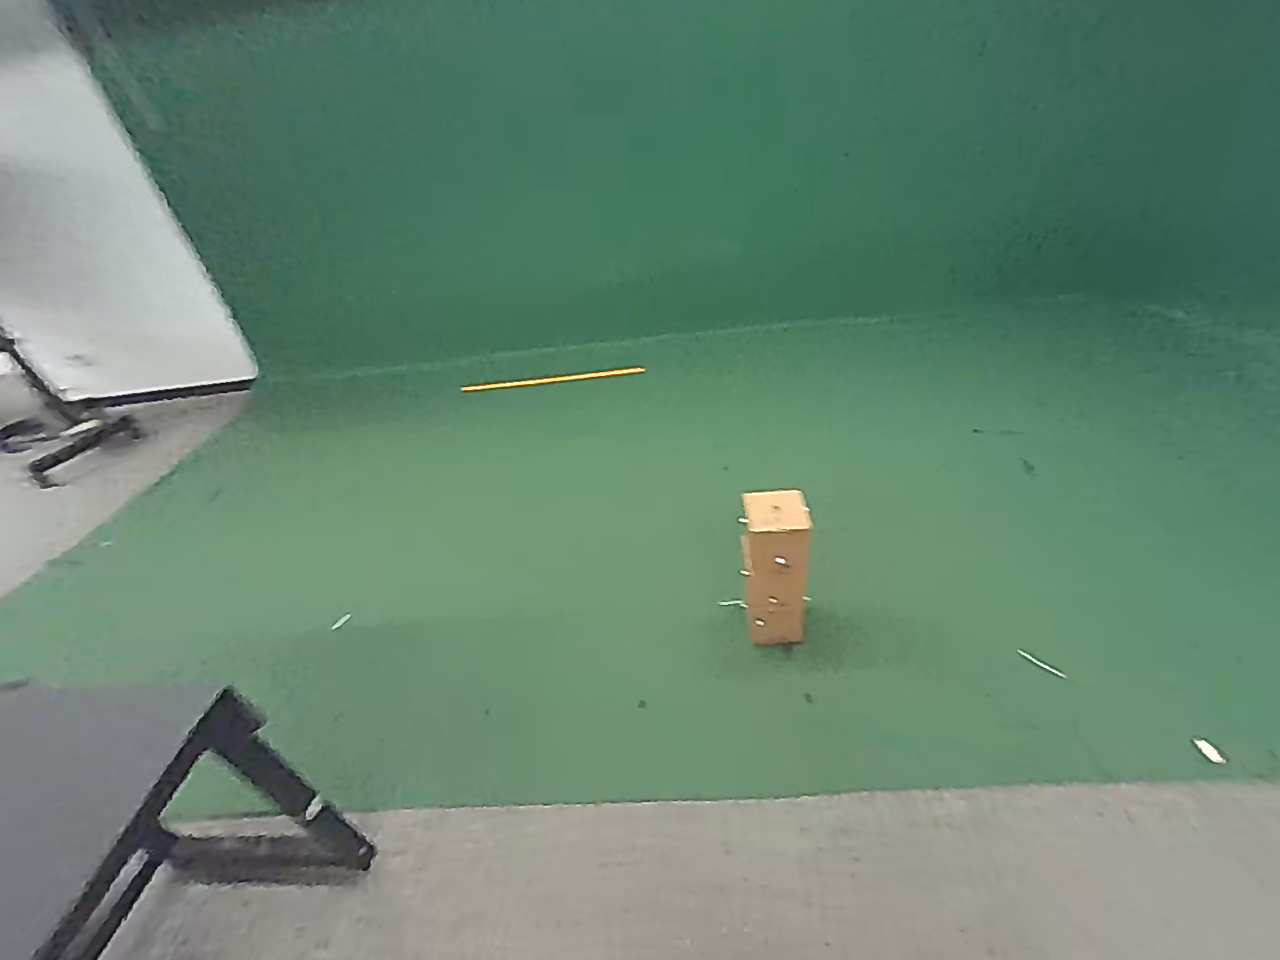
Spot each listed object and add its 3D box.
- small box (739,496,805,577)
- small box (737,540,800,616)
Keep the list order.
[{"bbox_3d":[0.386,0.166,1.609,0.168,0.176,0.179,-4,35,5],"label":"small box"},{"bbox_3d":[0.396,0.304,1.701,0.168,0.176,0.179,-4,35,4],"label":"small box"}]
